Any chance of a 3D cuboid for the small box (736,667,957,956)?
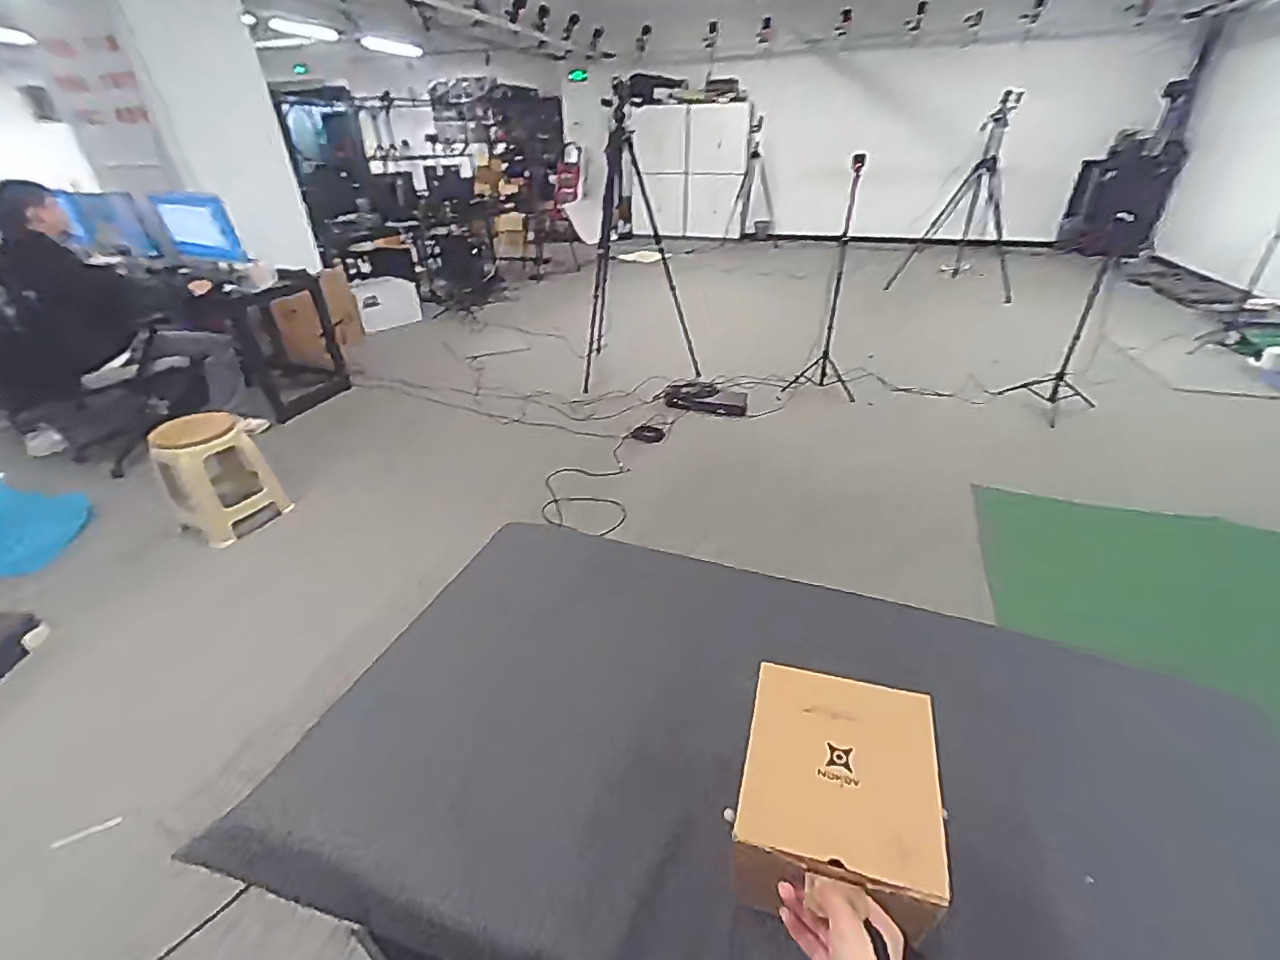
[{"bbox_3d":[0.190,0.320,0.530,0.168,0.176,0.179,7,39,16],"label":"small box"}]
